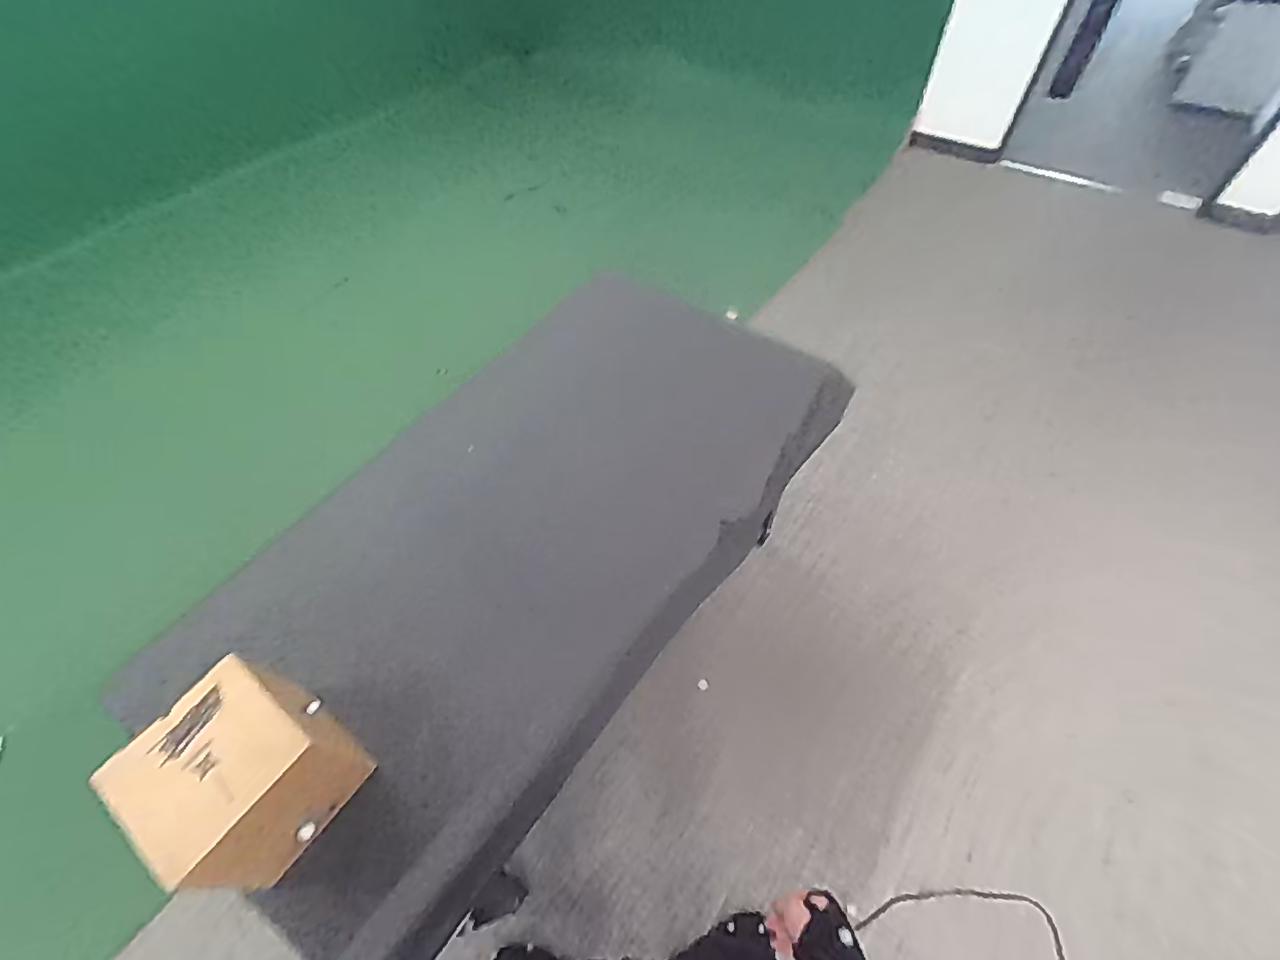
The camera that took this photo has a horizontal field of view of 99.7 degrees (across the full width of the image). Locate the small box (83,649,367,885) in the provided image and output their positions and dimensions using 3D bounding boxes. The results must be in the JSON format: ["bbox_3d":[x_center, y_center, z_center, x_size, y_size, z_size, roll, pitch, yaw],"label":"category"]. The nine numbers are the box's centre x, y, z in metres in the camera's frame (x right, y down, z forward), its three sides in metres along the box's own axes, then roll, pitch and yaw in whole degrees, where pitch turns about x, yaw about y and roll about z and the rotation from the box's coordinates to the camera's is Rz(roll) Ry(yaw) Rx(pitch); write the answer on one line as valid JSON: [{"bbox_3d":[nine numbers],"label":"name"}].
[{"bbox_3d":[-0.472,0.341,0.641,0.179,0.176,0.168,30,61,22],"label":"small box"}]
